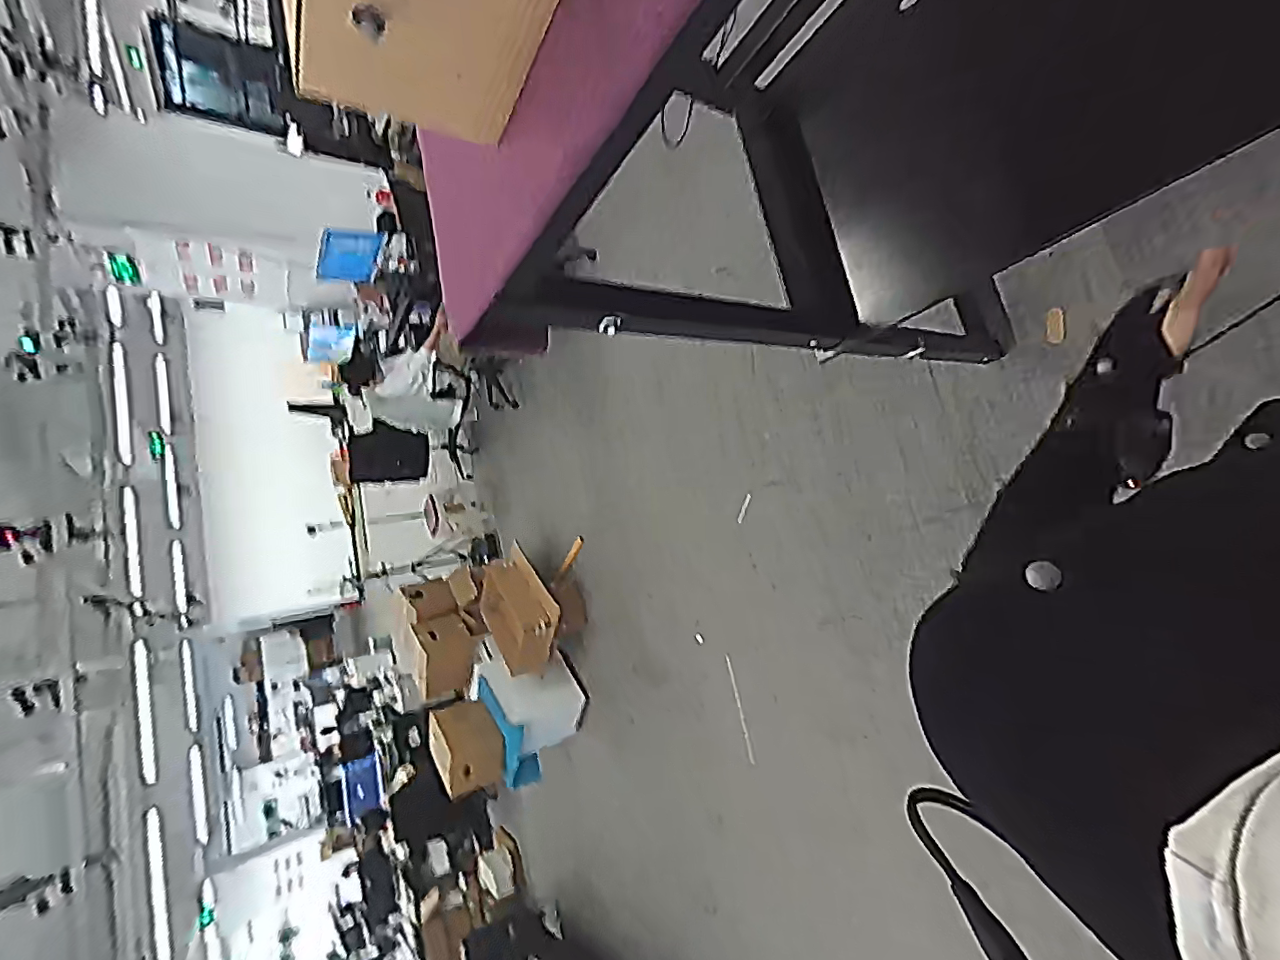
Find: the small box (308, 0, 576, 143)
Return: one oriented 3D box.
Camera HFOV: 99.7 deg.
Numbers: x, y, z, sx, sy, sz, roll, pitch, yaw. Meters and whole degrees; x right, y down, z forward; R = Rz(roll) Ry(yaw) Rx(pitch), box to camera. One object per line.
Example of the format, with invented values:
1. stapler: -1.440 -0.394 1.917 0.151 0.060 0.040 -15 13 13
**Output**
1. small box: -0.164 -0.414 0.431 0.179 0.176 0.168 -28 73 53
